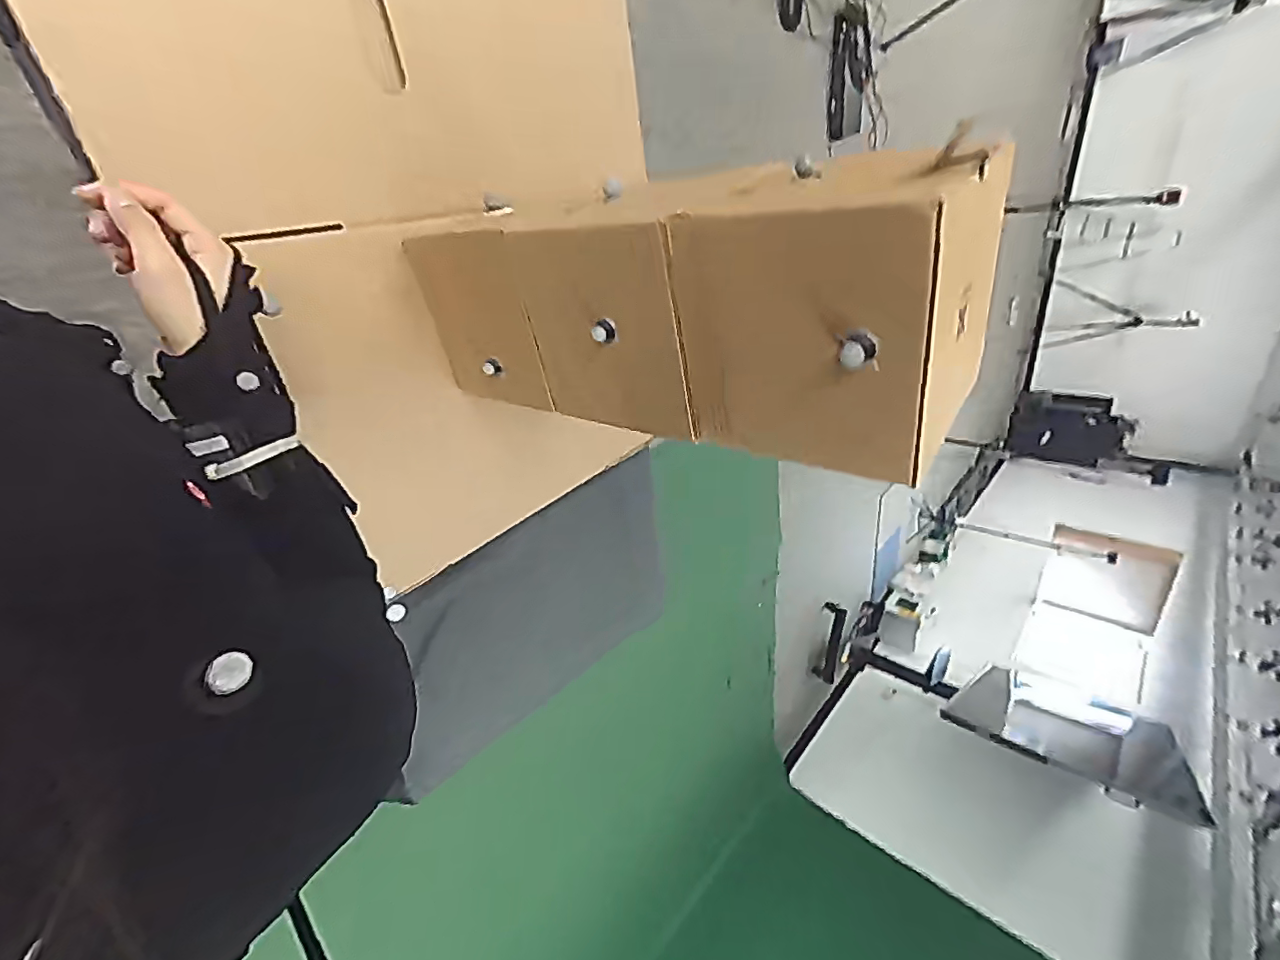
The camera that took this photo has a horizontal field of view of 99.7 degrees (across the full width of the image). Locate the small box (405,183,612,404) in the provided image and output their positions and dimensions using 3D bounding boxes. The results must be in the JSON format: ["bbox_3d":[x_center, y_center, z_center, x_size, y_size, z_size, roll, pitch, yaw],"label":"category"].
[{"bbox_3d":[-0.115,-0.205,0.587,0.168,0.176,0.179,-42,133,-36],"label":"small box"}]

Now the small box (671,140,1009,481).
[{"bbox_3d":[0.143,-0.129,0.402,0.168,0.176,0.179,-43,134,-35],"label":"small box"}]

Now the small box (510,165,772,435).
[{"bbox_3d":[0.014,-0.167,0.492,0.168,0.176,0.179,-42,134,-35],"label":"small box"}]
